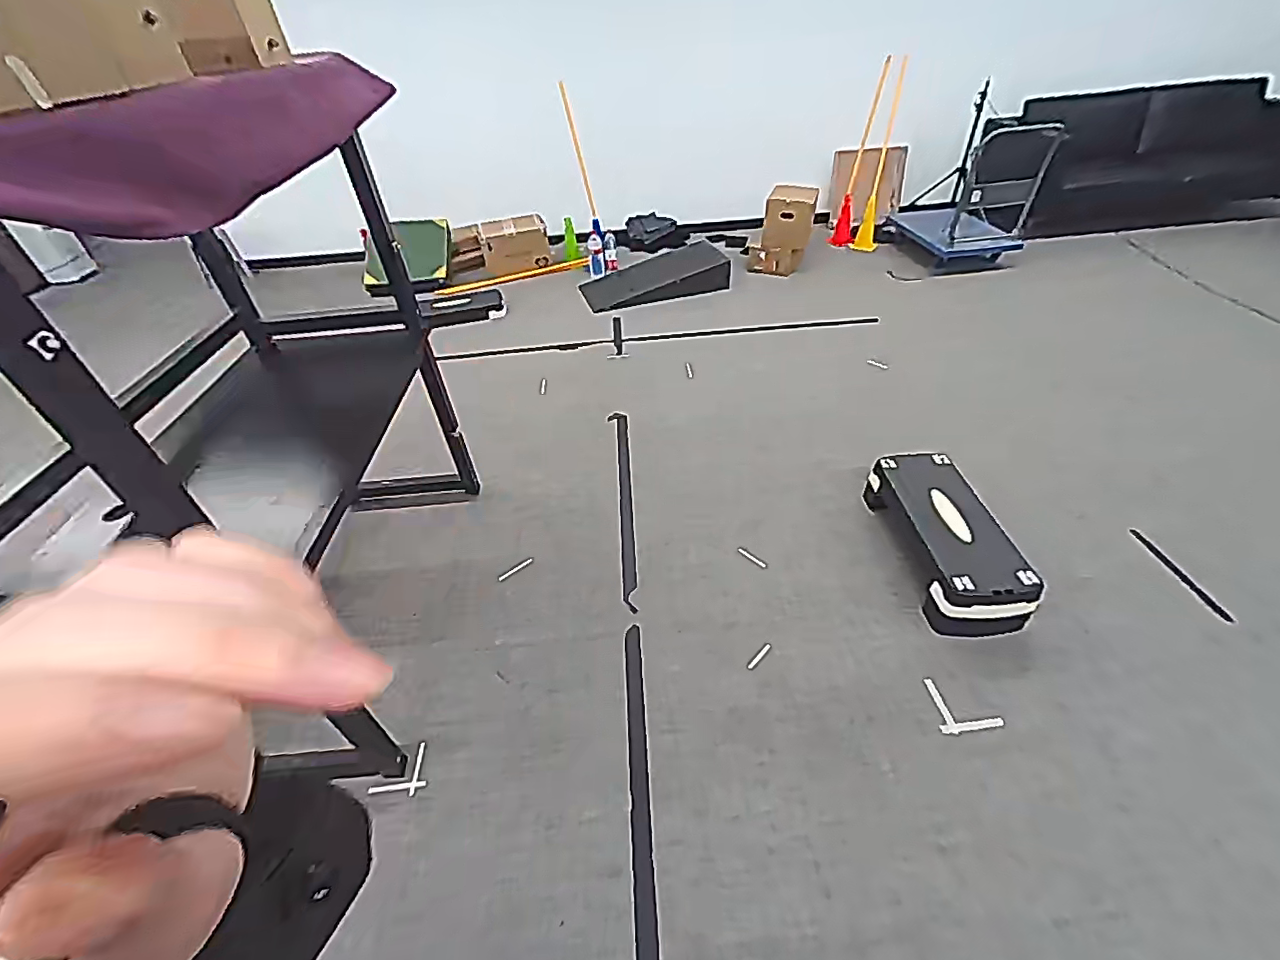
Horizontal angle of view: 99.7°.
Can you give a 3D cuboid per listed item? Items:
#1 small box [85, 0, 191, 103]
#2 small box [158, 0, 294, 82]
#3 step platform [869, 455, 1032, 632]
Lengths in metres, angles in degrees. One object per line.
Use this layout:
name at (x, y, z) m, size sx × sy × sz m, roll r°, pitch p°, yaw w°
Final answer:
small box at (-0.891, -0.723, 0.880) m, size 0.168 × 0.176 × 0.179 m, roll -5°, pitch 41°, yaw 1°
small box at (-0.881, -0.963, 1.155) m, size 0.168 × 0.176 × 0.179 m, roll -6°, pitch 40°, yaw -1°
step platform at (1.038, 0.182, 1.876) m, size 0.286 × 0.204 × 0.684 m, roll -1°, pitch 40°, yaw 4°
